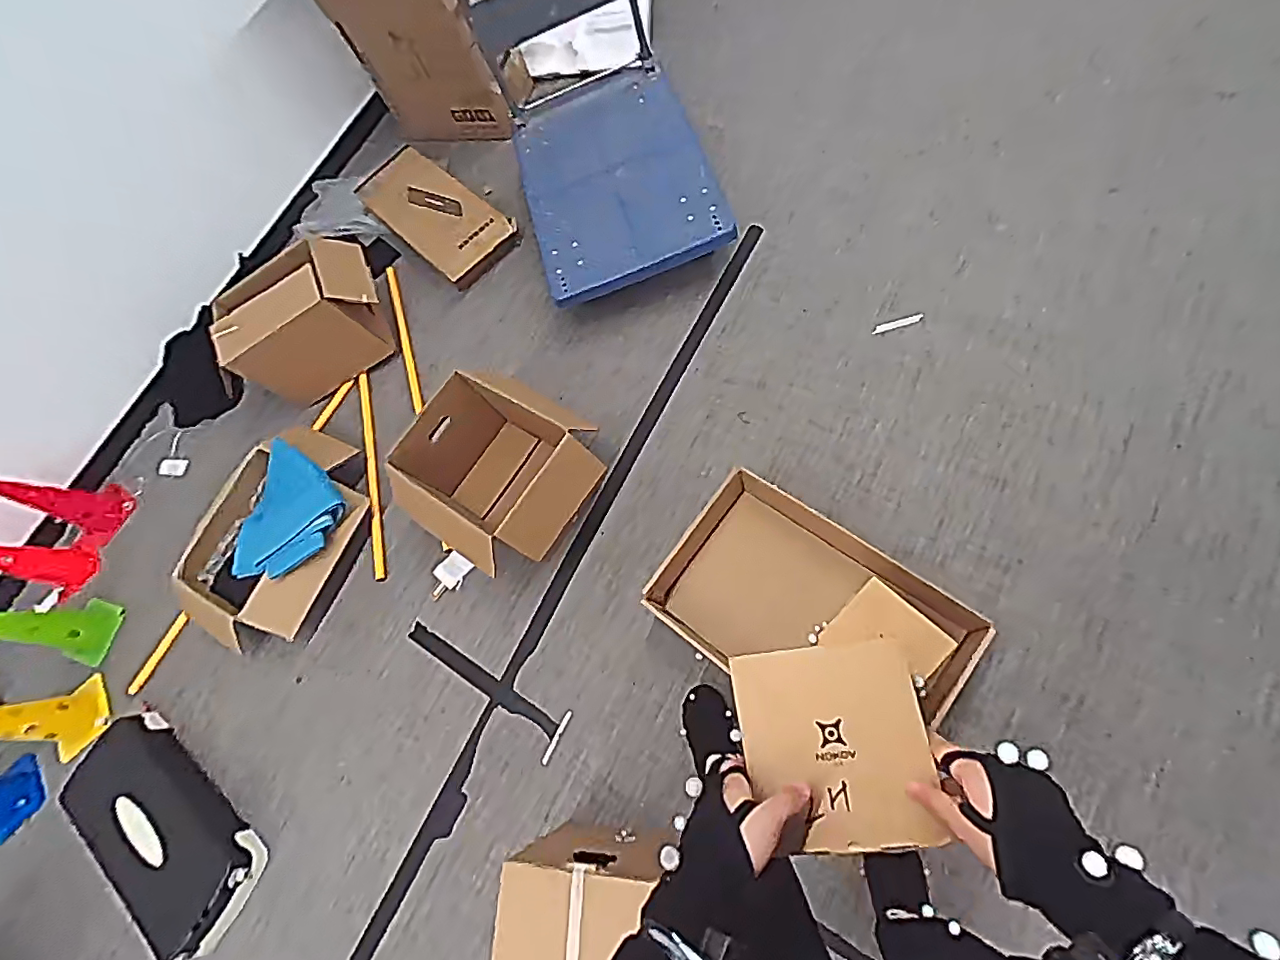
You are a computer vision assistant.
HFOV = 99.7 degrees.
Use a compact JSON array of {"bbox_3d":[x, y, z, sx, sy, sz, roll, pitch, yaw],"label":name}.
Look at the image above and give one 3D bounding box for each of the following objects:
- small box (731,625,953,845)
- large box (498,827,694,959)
[{"bbox_3d":[0.198,0.257,0.571,0.168,0.176,0.179,-12,70,13],"label":"small box"},{"bbox_3d":[-0.068,0.937,1.031,0.320,0.320,0.408,-3,70,15],"label":"large box"}]
